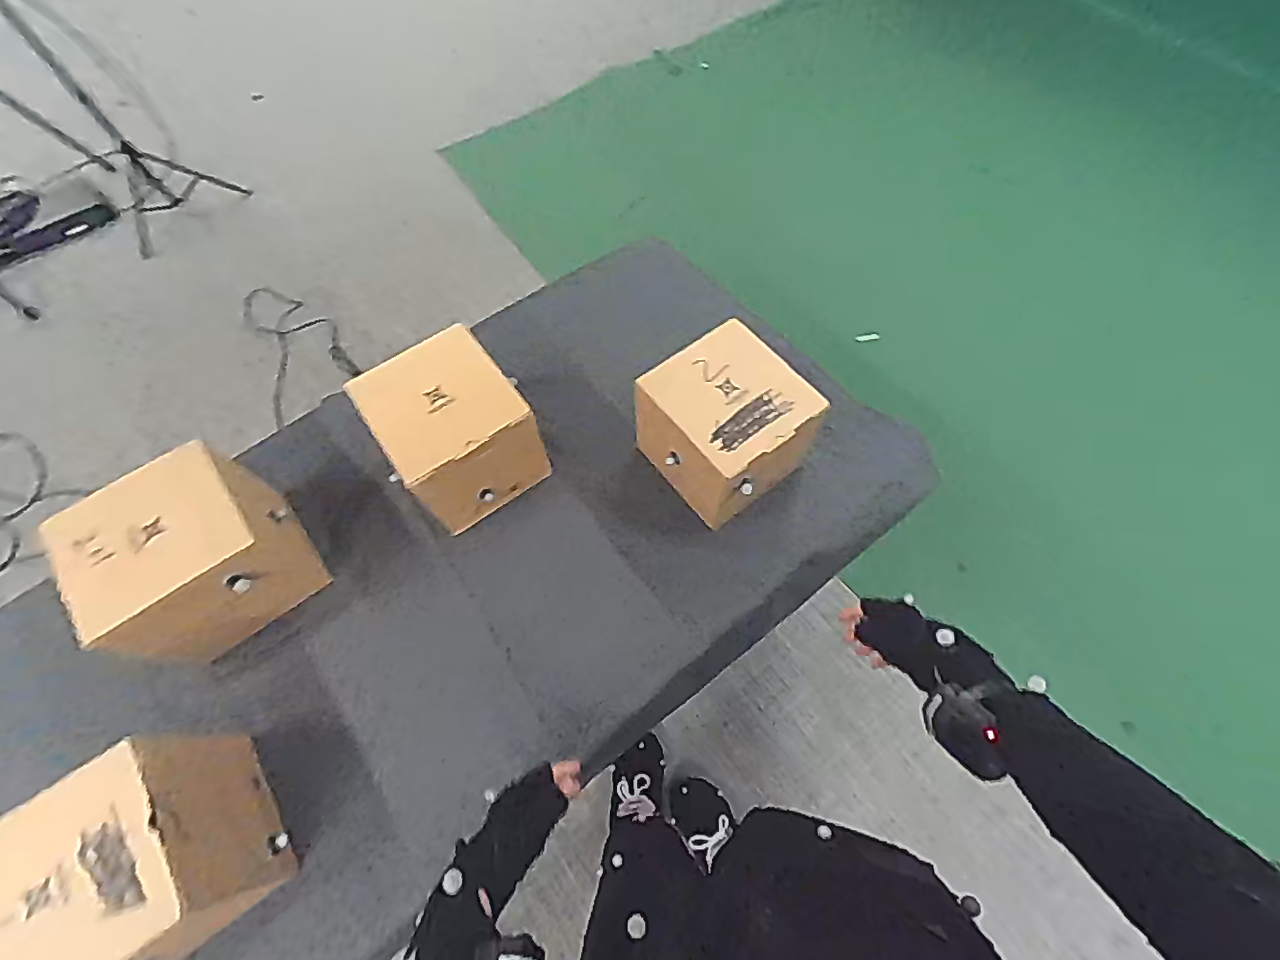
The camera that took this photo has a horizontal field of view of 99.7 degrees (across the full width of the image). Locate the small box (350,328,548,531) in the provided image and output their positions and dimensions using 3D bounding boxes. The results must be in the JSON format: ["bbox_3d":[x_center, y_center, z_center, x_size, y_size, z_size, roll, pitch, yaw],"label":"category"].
[{"bbox_3d":[-0.244,-0.061,0.728,0.168,0.176,0.179,-35,70,-16],"label":"small box"}]

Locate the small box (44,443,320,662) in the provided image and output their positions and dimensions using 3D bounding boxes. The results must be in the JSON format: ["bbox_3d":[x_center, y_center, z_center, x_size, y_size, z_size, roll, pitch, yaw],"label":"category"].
[{"bbox_3d":[-0.522,0.094,0.648,0.179,0.176,0.168,-36,70,-15],"label":"small box"}]

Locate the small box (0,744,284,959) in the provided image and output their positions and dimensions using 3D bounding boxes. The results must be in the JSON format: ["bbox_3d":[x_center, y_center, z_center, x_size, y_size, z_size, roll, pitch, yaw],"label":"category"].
[{"bbox_3d":[-0.483,0.376,0.517,0.179,0.176,0.168,-34,69,-14],"label":"small box"}]
